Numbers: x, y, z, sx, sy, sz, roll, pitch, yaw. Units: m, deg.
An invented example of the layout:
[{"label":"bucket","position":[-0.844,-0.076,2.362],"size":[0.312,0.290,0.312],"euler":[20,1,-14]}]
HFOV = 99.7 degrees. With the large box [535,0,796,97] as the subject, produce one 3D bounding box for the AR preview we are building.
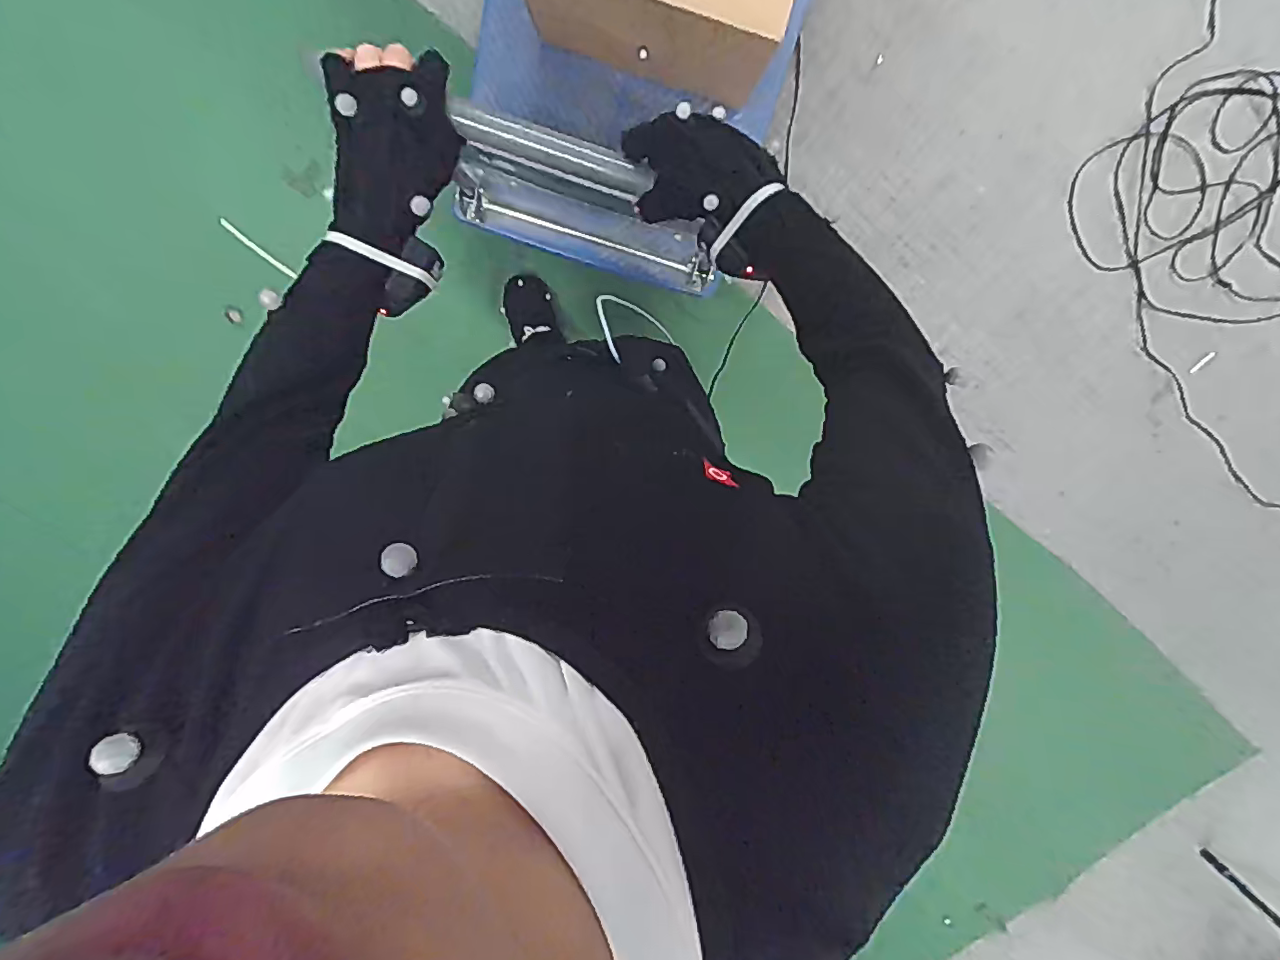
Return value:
[{"label":"large box","position":[0.056,-0.878,0.859],"size":[0.408,0.320,0.320],"euler":[14,108,-6]}]
